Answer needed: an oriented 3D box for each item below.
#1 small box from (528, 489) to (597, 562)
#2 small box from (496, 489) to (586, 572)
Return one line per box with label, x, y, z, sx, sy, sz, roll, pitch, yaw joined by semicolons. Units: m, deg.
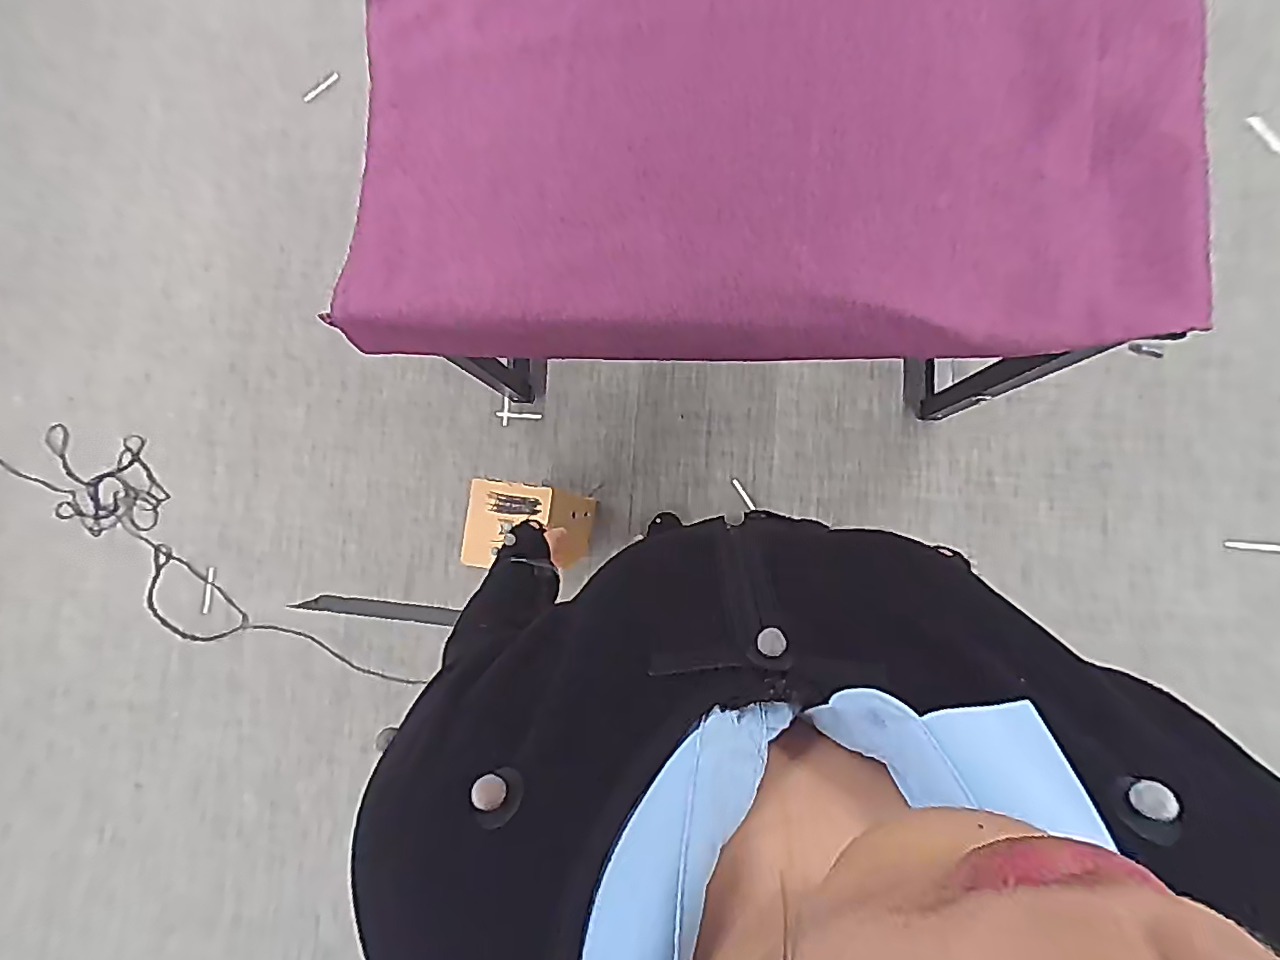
small box;-0.221;0.127;1.463;0.168;0.176;0.179;10;87;6
small box;-0.229;0.119;1.298;0.168;0.176;0.179;5;87;6
